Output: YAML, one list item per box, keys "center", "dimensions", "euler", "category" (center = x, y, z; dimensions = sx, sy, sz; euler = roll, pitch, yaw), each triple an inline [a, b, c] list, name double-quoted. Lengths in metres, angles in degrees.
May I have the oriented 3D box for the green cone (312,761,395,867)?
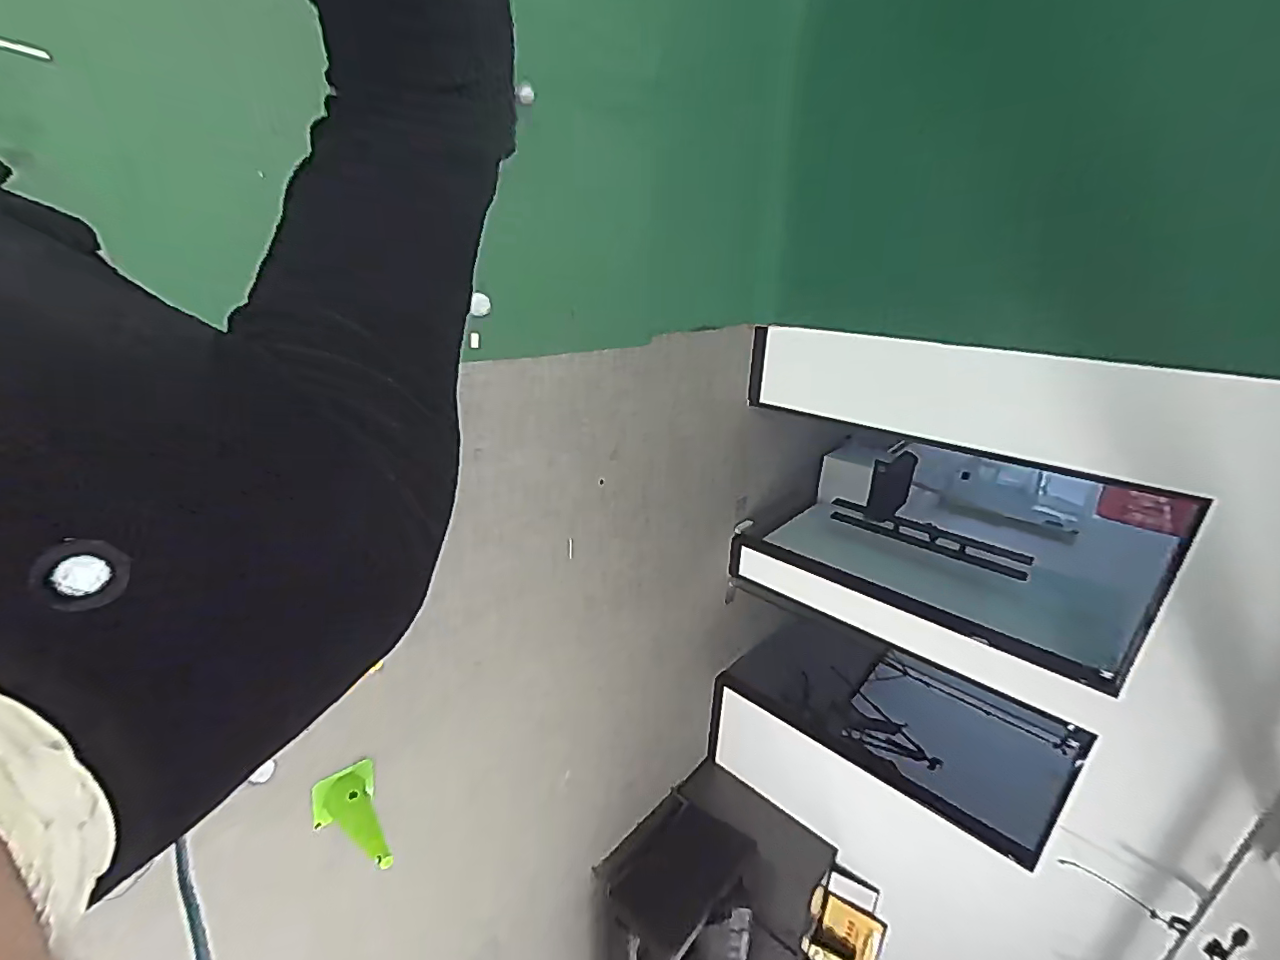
- center: [-0.928, 1.170, 1.826]
  dimensions: [0.200, 0.368, 0.202]
  euler: [-13, 114, -48]
  category: "green cone"
